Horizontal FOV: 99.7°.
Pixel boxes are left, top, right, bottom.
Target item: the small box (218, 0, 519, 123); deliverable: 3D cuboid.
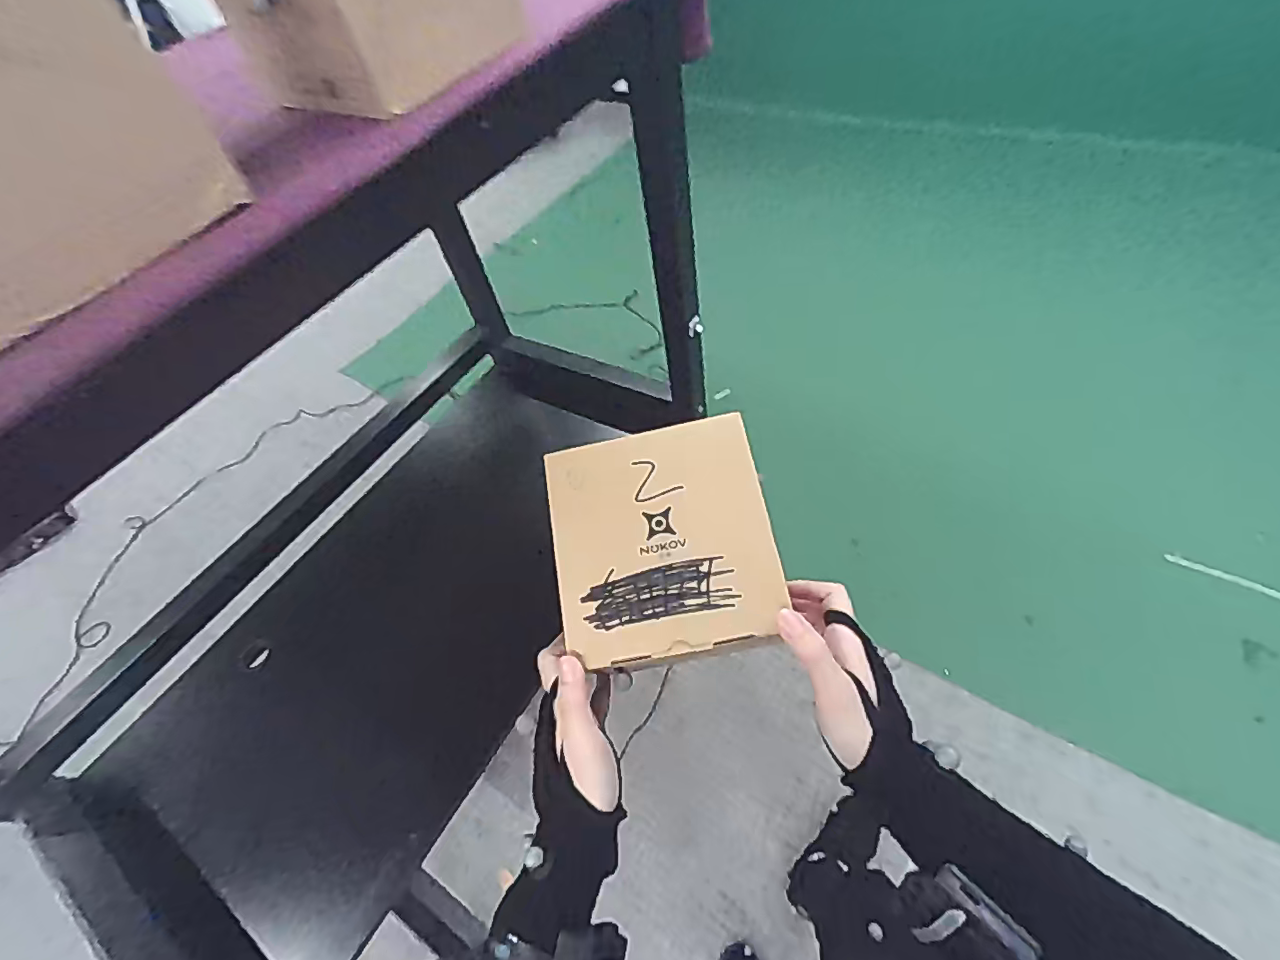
[{"bbox_3d":[-0.224,-0.410,0.424,0.168,0.176,0.179,23,63,24],"label":"small box"}]
